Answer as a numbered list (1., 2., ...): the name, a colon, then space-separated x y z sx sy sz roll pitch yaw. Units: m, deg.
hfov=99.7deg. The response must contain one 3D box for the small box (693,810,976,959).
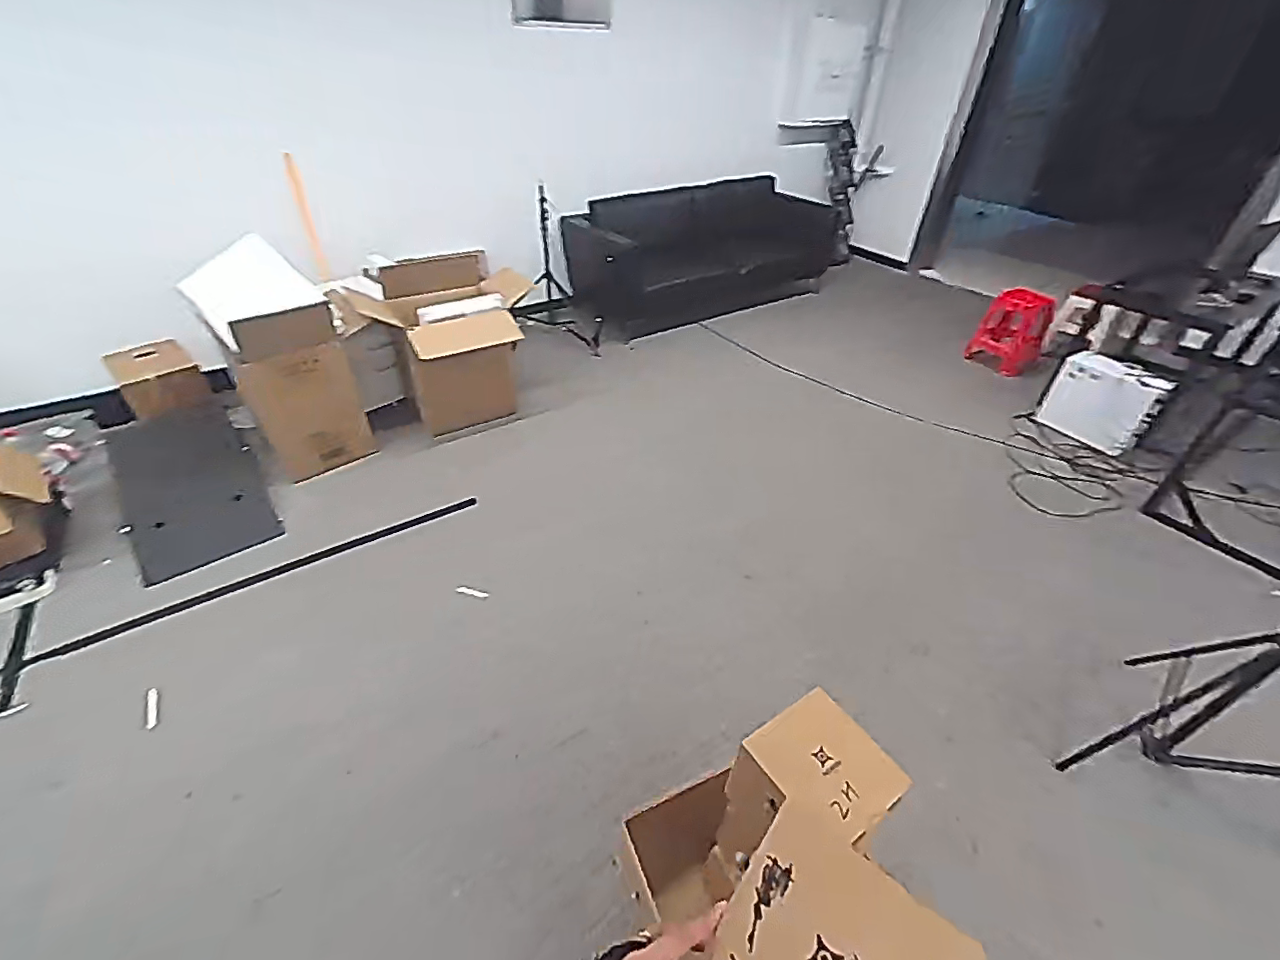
1. small box: 0.158 0.433 0.483 0.179 0.176 0.168 29 63 27

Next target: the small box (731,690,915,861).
1. small box: 0.254 0.457 0.796 0.168 0.176 0.179 -21 44 -27
